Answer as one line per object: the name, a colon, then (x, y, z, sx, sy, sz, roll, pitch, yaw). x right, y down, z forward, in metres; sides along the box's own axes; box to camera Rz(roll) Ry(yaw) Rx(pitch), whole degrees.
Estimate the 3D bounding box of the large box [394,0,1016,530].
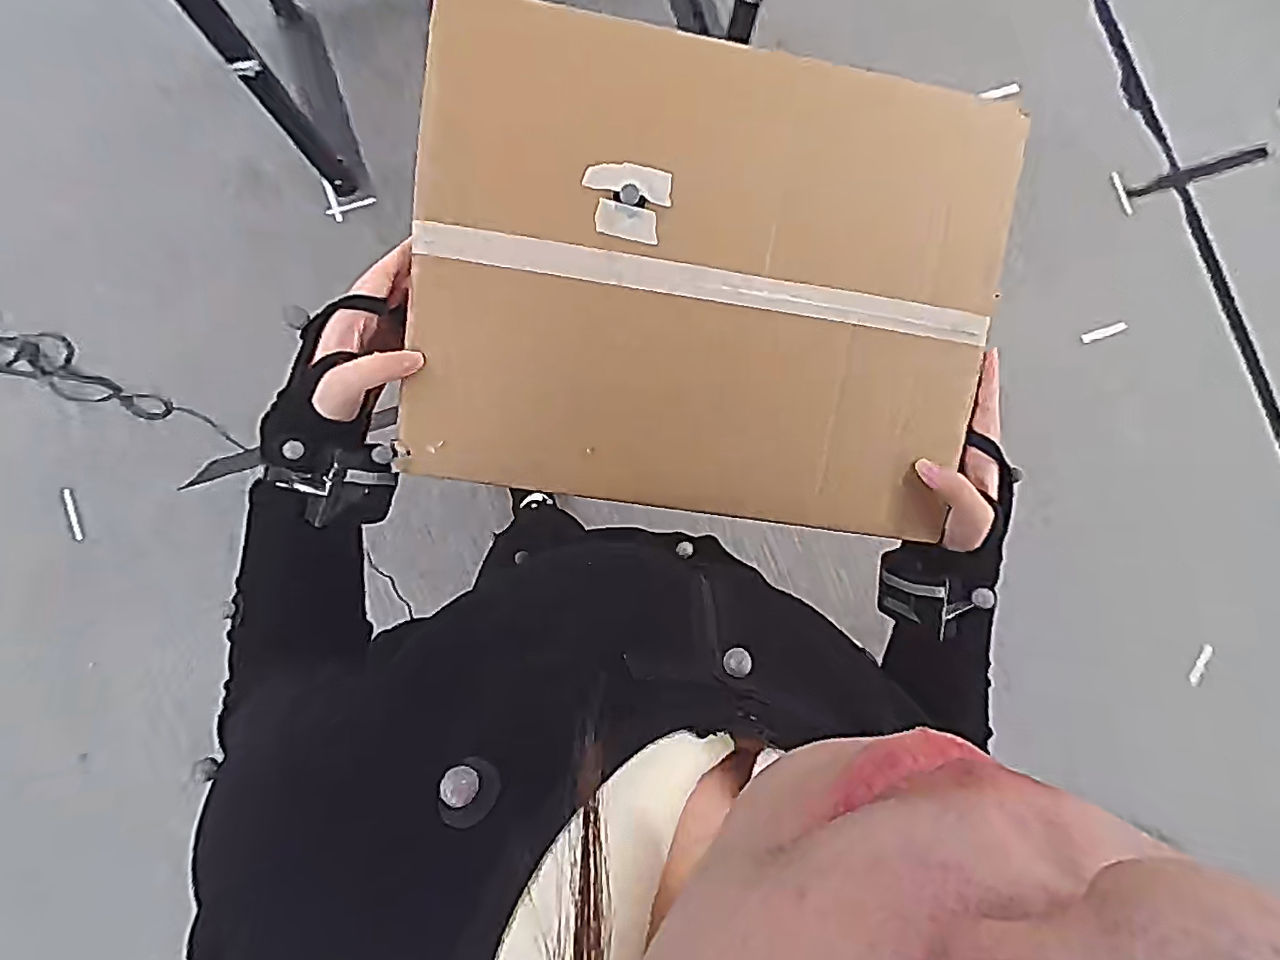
large box: (0.035, -0.154, 0.518, 0.408, 0.320, 0.320, 7, 97, -4)
